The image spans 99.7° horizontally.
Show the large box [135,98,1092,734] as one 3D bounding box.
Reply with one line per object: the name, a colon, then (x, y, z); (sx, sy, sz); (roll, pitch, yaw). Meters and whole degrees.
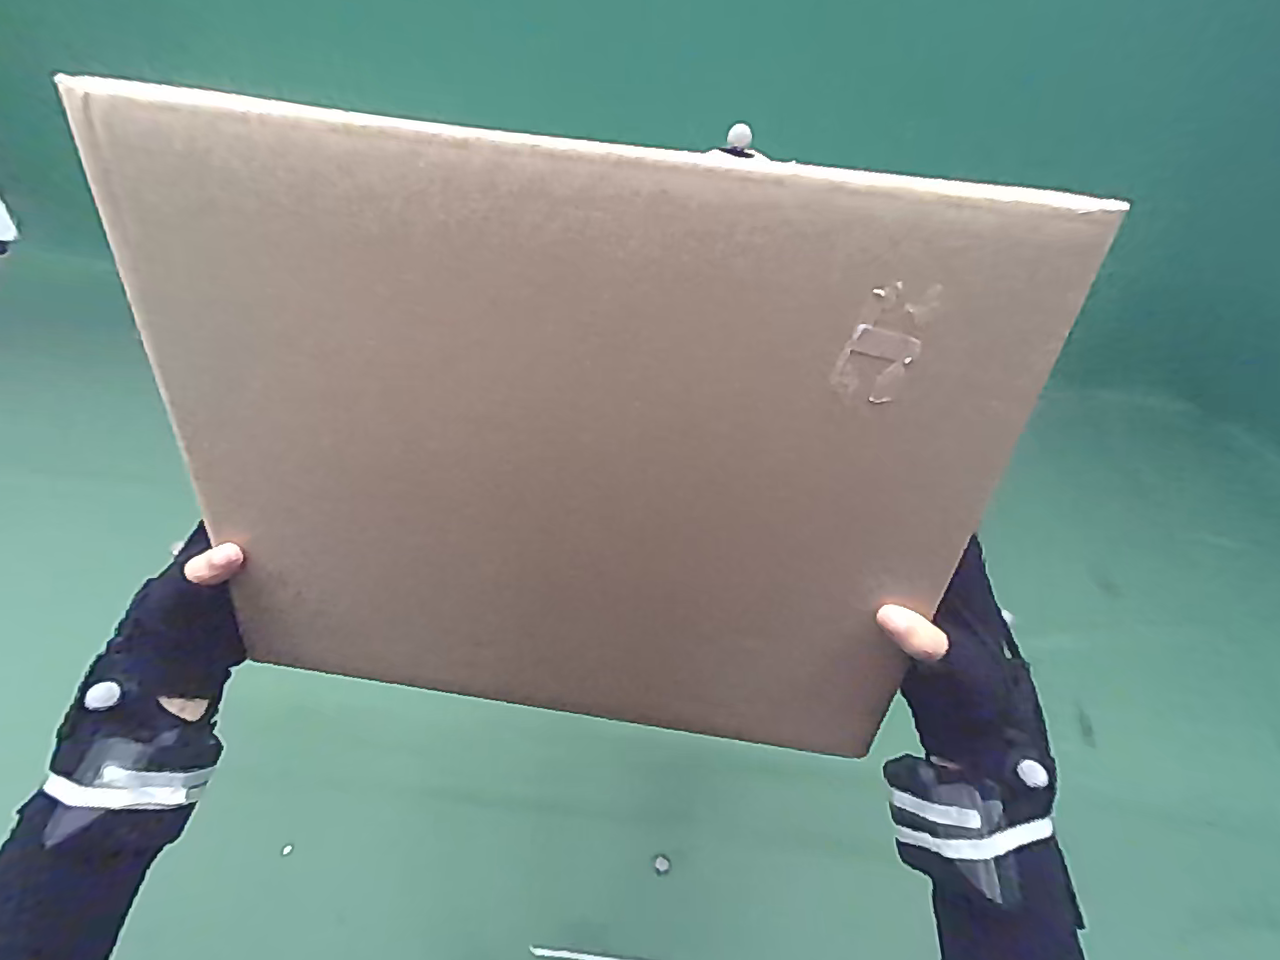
large box: (-0.020, -0.058, 0.416); (0.408, 0.320, 0.320); (9, 28, 2)
